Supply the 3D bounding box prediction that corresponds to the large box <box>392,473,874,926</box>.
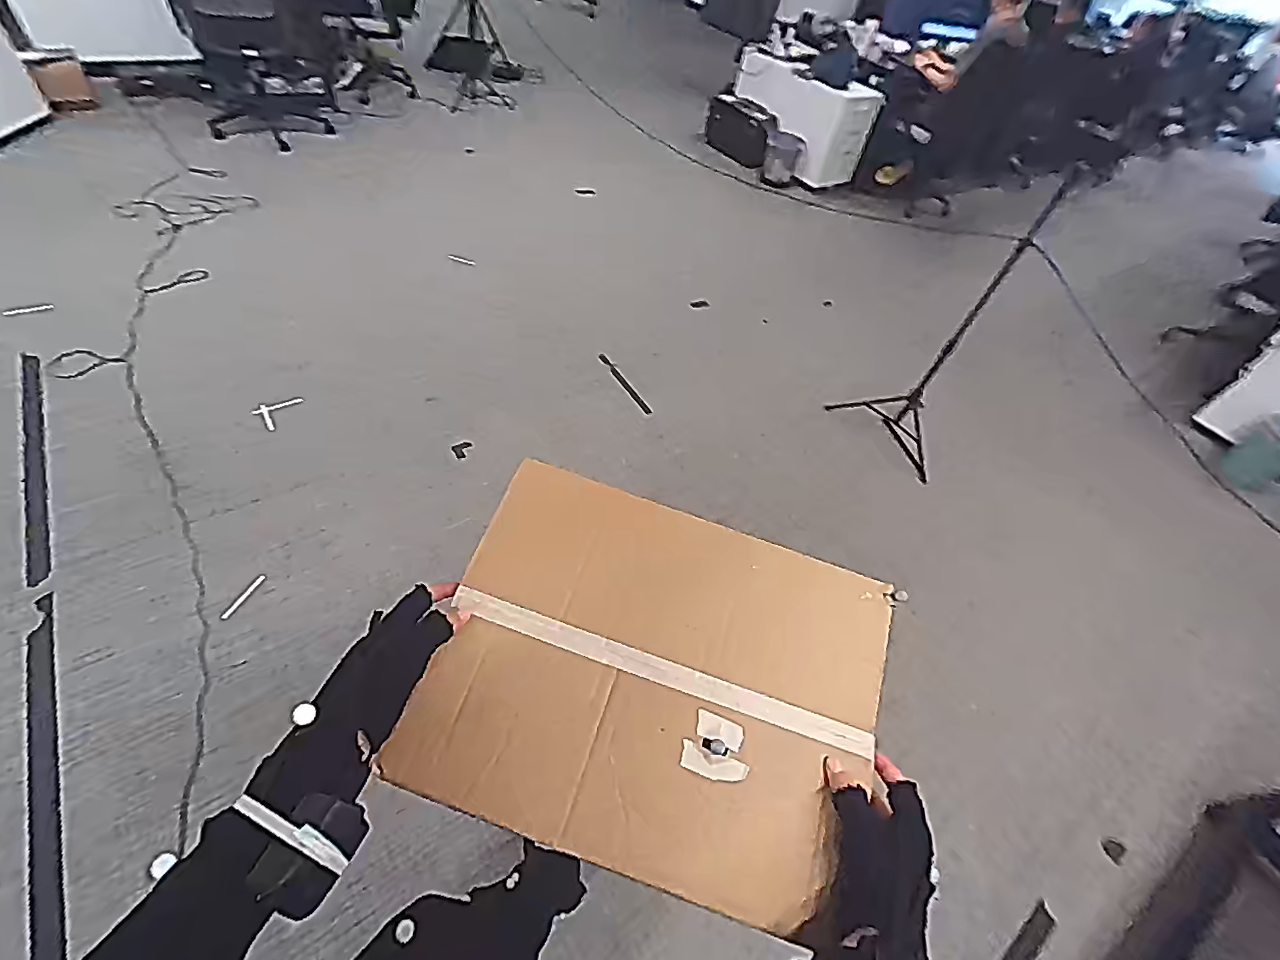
[{"bbox_3d":[0.001,0.242,0.652,0.408,0.320,0.320,19,66,3],"label":"large box"}]
